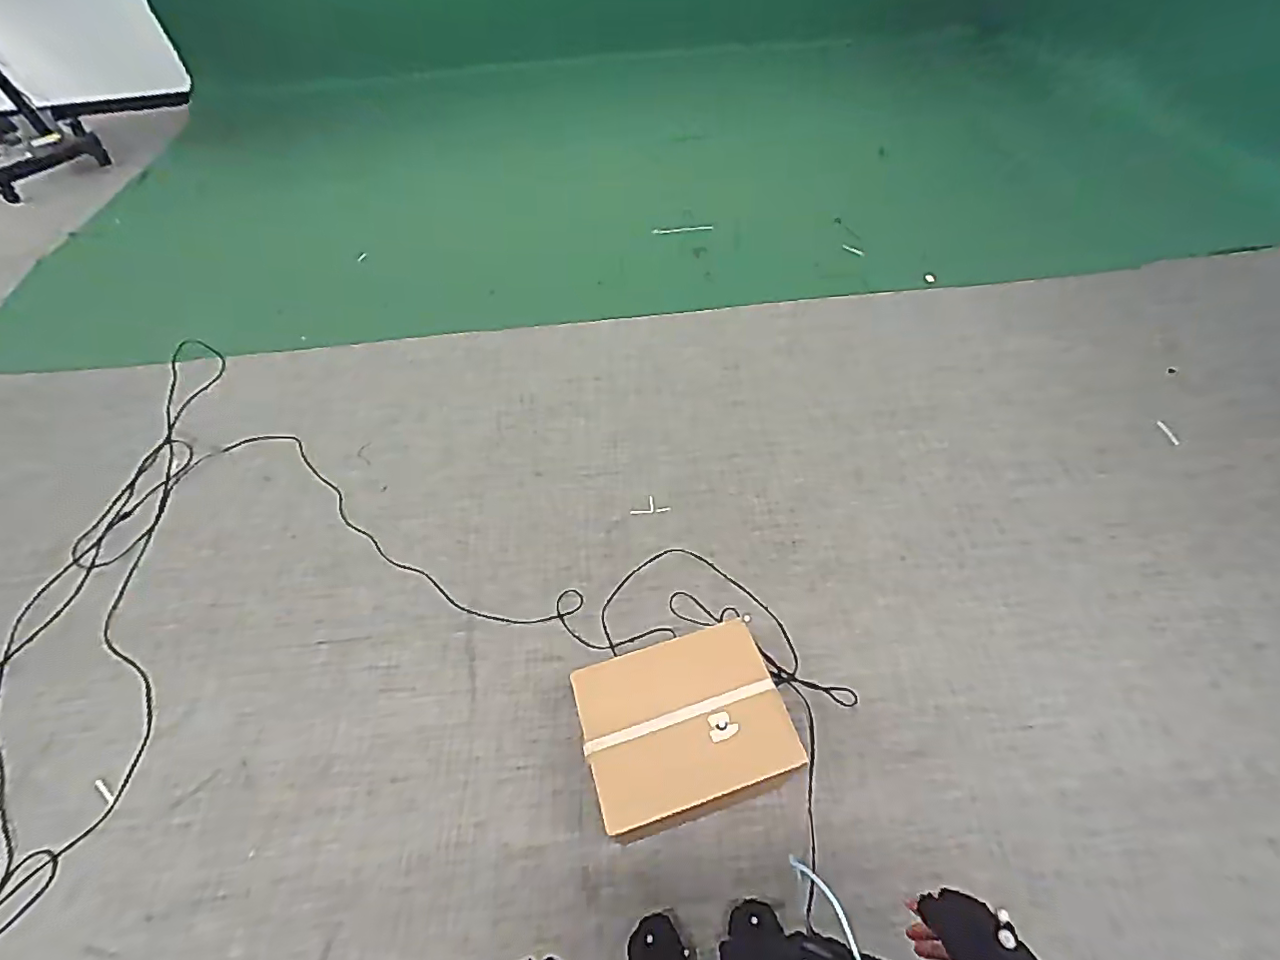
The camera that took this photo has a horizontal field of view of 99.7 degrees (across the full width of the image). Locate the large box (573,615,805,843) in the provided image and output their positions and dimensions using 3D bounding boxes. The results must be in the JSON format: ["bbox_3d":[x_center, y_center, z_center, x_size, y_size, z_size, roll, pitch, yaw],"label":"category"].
[{"bbox_3d":[0.095,0.562,1.220,0.408,0.320,0.320,-16,54,-9],"label":"large box"}]
